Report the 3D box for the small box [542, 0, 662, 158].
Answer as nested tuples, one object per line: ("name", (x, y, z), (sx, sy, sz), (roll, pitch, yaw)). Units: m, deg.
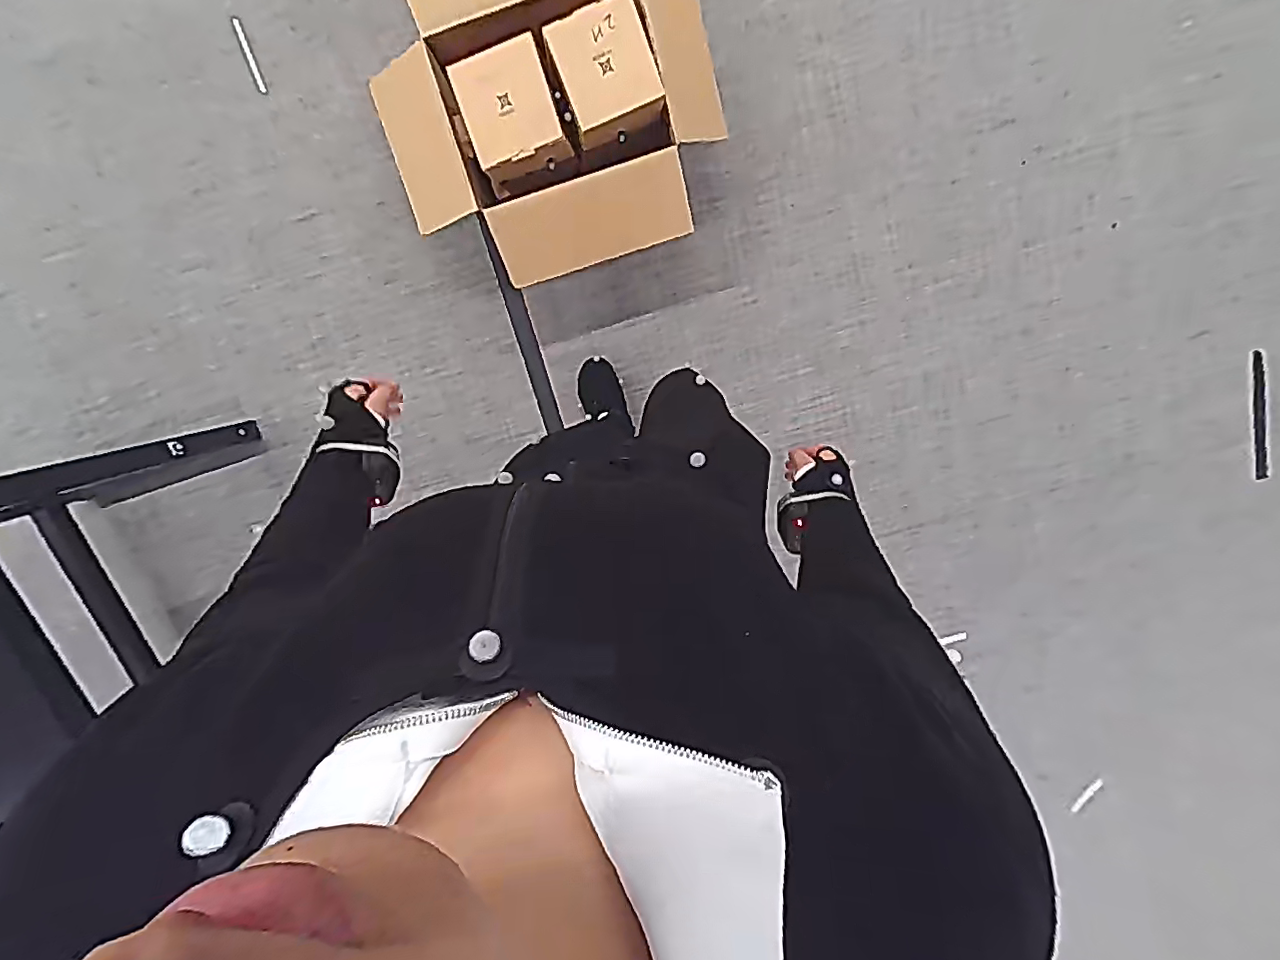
("small box", (-0.069, -0.746, 1.031), (0.168, 0.176, 0.179), (-23, 104, 2))
